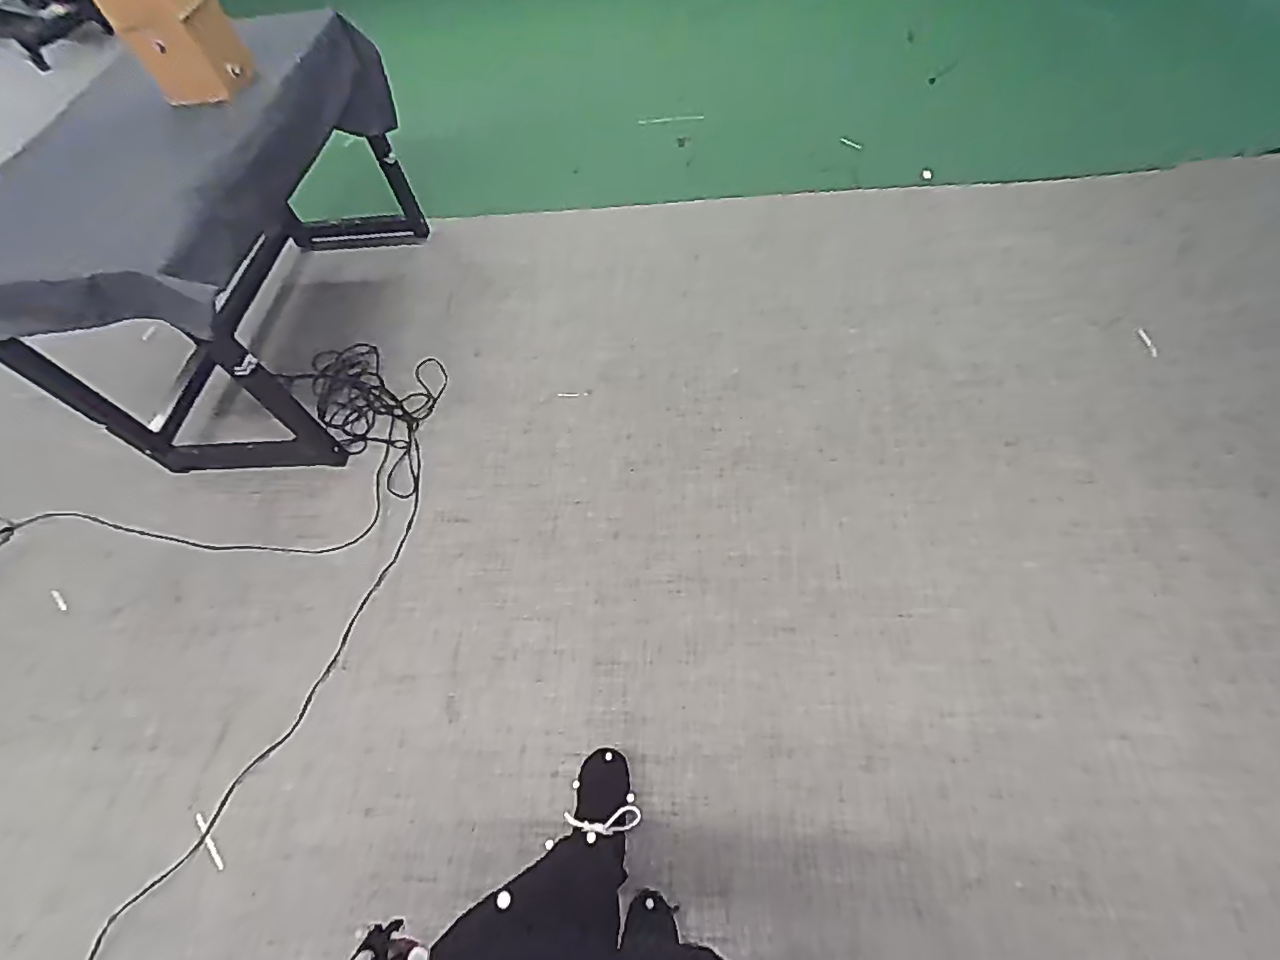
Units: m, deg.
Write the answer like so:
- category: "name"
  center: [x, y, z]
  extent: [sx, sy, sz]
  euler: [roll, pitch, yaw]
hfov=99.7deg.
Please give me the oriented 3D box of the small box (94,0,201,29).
- category: "small box"
  center: [-1.134, -1.153, 1.211]
  extent: [0.179, 0.176, 0.168]
  euler: [-2, 60, 6]

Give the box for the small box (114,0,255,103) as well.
- category: "small box"
  center: [-1.126, -1.075, 1.353]
  extent: [0.179, 0.176, 0.168]
  euler: [-1, 60, 5]
